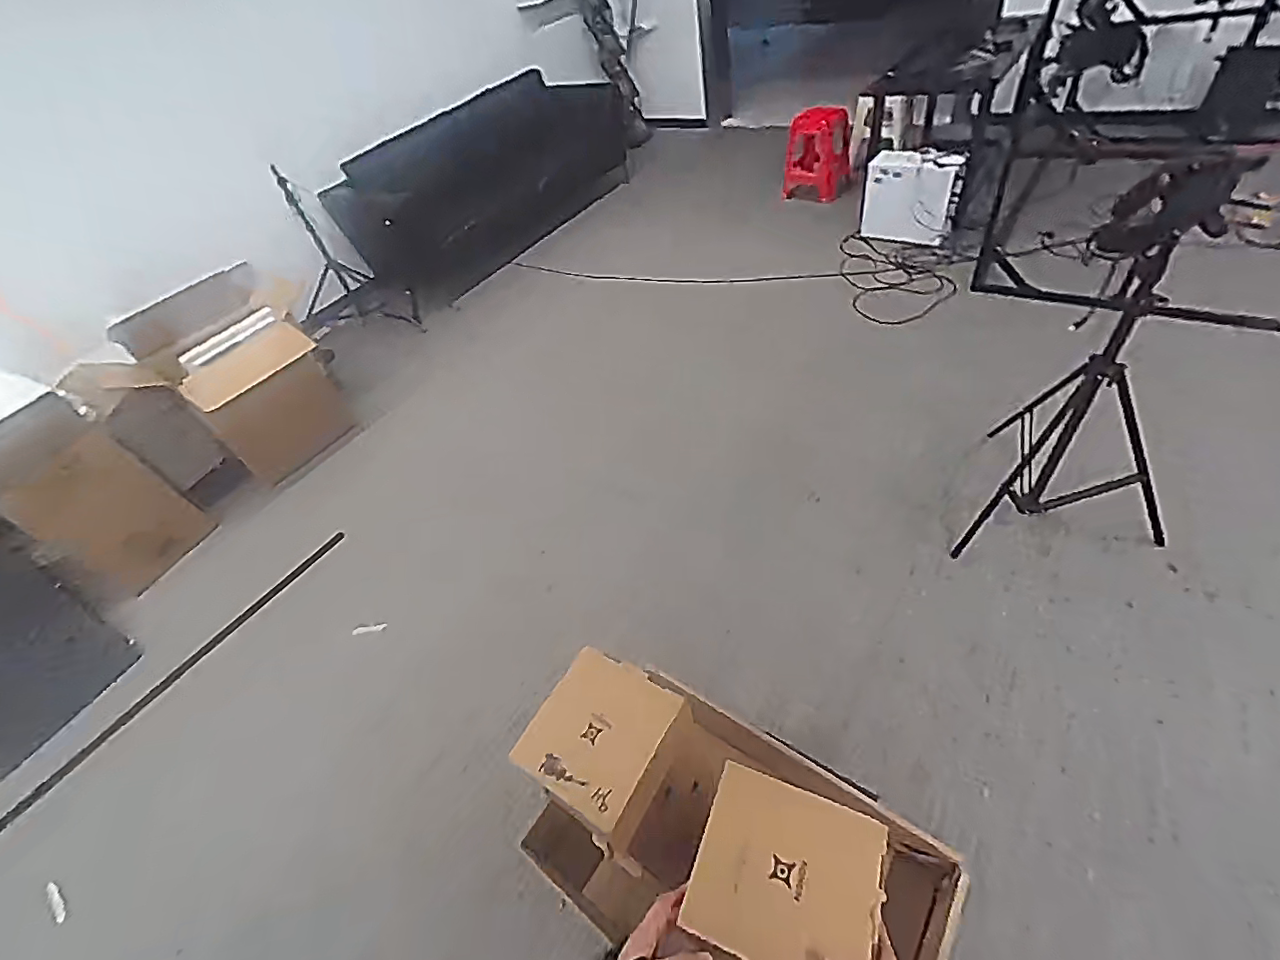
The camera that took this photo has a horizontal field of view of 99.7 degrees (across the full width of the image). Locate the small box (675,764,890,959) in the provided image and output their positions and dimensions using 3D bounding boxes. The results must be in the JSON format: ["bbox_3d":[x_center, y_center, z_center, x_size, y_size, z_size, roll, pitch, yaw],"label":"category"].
[{"bbox_3d":[0.153,0.451,0.587,0.179,0.176,0.168,12,46,23],"label":"small box"}]

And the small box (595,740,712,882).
[{"bbox_3d":[0.001,0.483,0.848,0.168,0.176,0.179,19,55,31],"label":"small box"}]

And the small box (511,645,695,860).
[{"bbox_3d":[-0.038,0.368,0.736,0.168,0.176,0.179,19,53,32],"label":"small box"}]
